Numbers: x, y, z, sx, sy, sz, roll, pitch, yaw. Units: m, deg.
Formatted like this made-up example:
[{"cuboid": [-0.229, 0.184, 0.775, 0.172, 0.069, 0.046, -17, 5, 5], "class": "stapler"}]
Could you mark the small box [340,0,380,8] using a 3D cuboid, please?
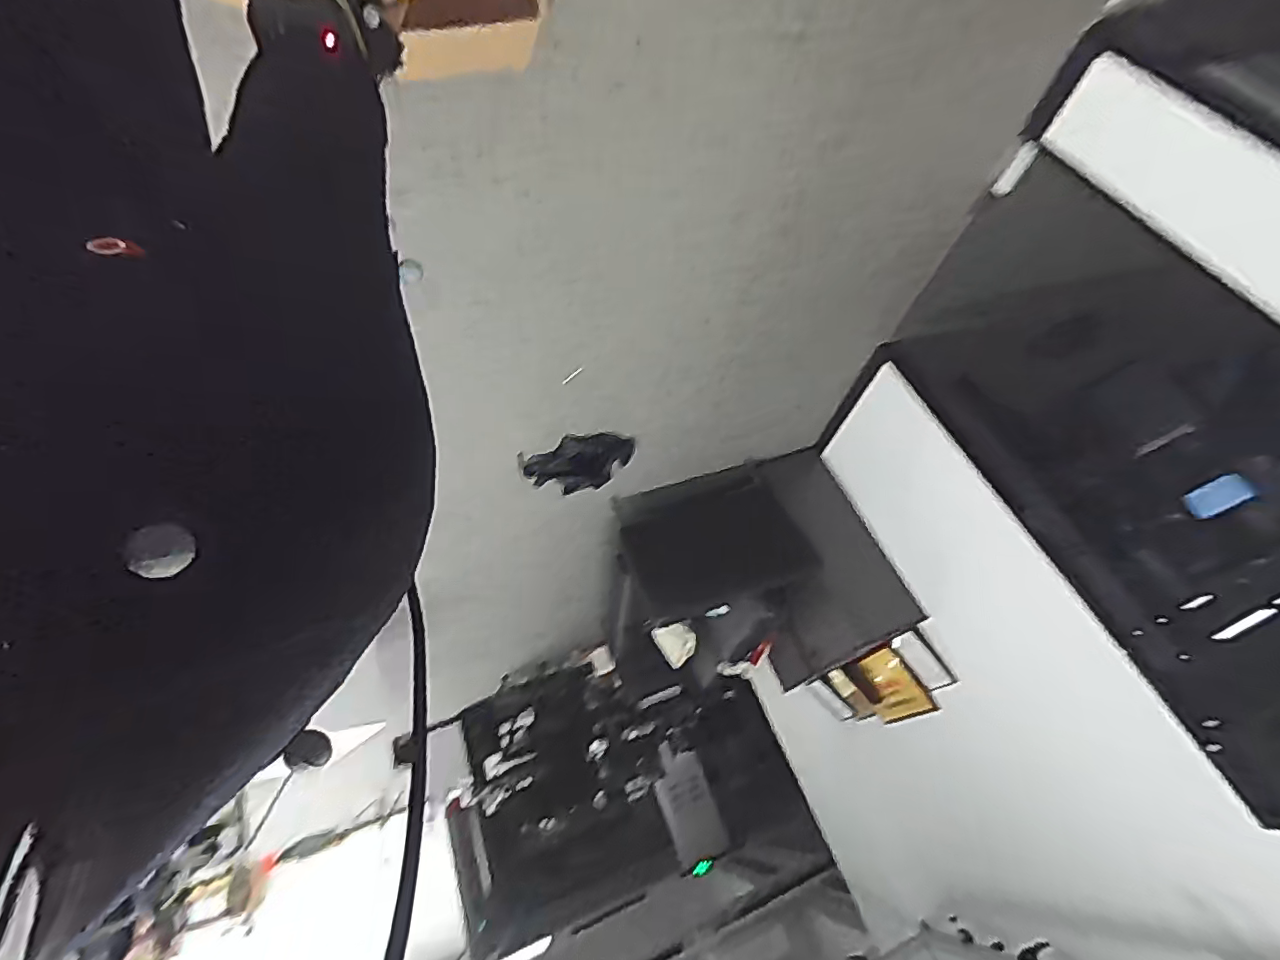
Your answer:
[{"cuboid": [-0.230, -0.543, 0.468, 0.179, 0.176, 0.168, -30, 136, -3], "class": "small box"}]
